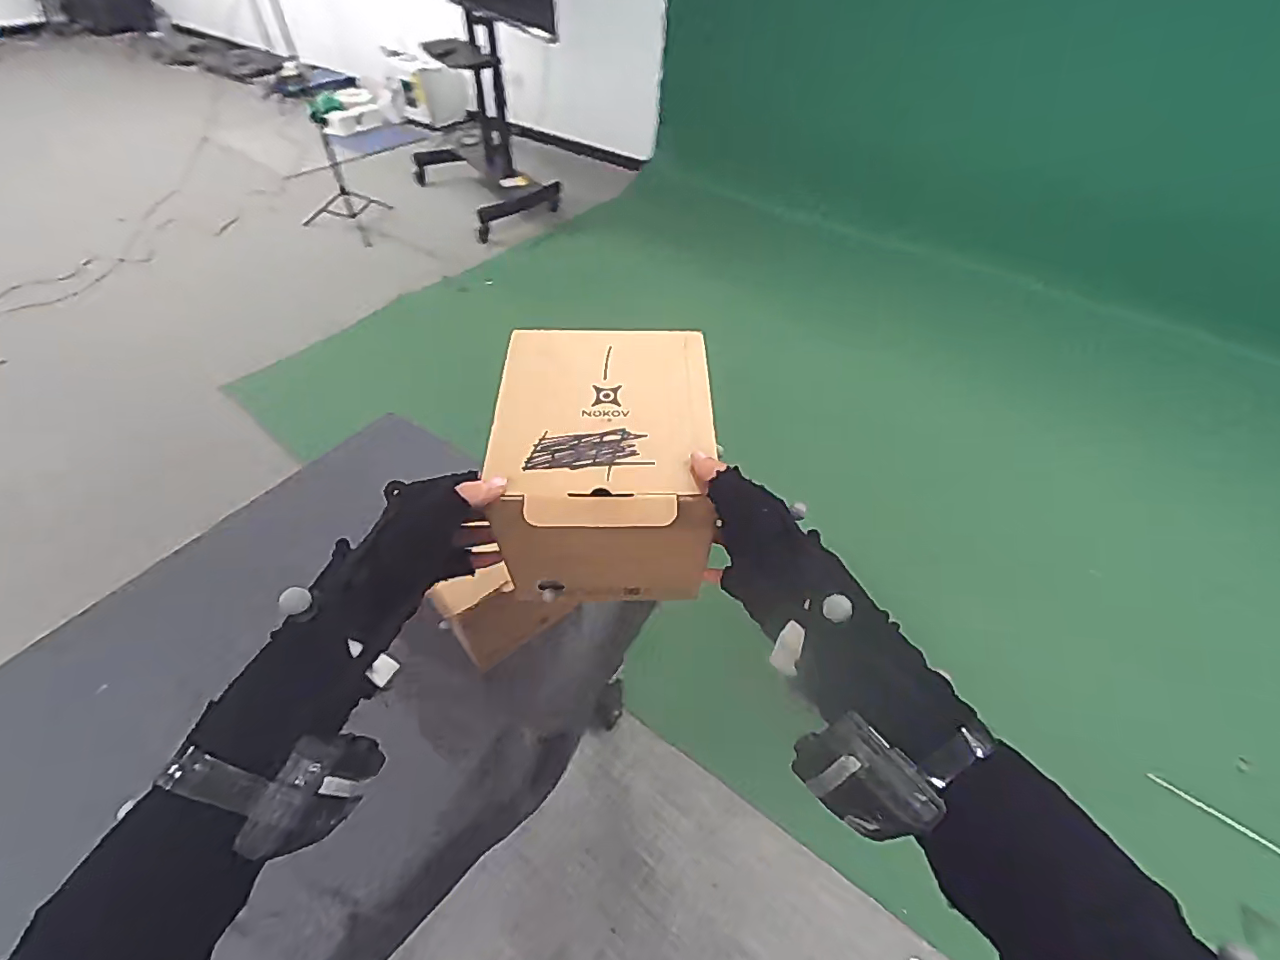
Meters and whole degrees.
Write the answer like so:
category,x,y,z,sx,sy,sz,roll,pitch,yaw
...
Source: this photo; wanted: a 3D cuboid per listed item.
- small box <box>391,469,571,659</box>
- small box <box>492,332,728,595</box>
category,x,y,z,sx,sy,sz,roll,pitch,yaw
small box,-0.211,0.123,0.757,0.168,0.176,0.179,-33,56,-28
small box,-0.019,-0.009,0.478,0.168,0.176,0.179,1,54,0
